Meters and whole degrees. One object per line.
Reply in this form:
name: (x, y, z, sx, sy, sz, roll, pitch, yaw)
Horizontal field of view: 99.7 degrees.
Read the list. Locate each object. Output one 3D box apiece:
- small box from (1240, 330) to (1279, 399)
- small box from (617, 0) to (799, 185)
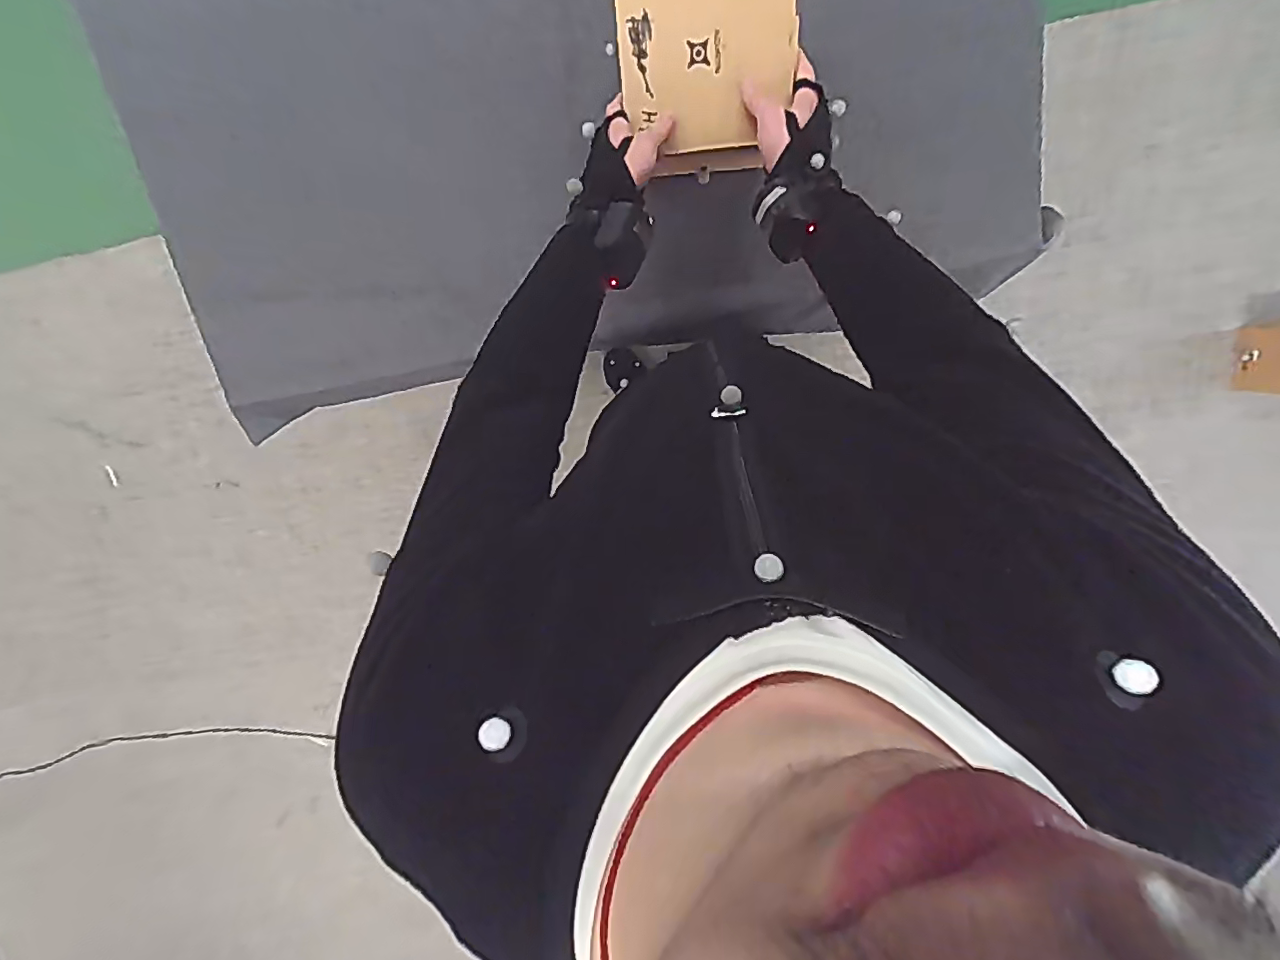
small box: (1.679, -0.295, 1.344, 0.179, 0.176, 0.168, -7, 103, 5)
small box: (0.070, -0.440, 0.611, 0.179, 0.176, 0.168, -3, 112, 4)
